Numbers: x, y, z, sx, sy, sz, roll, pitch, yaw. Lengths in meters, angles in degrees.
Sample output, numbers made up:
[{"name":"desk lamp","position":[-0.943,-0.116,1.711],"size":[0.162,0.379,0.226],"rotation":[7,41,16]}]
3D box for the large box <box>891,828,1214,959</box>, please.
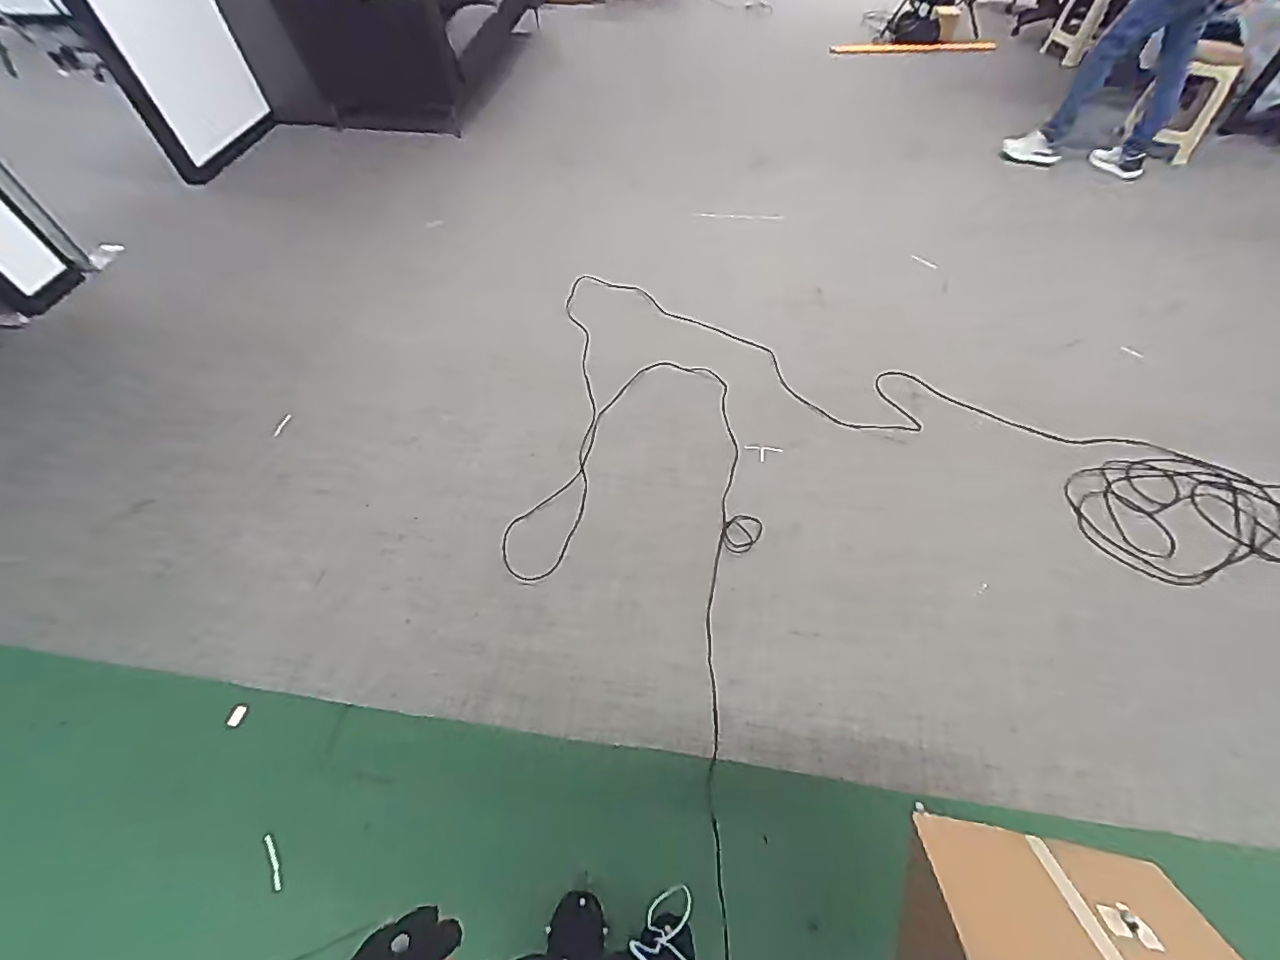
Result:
[{"name":"large box","position":[0.490,0.694,0.595],"size":[0.320,0.408,0.320],"rotation":[7,95,12]}]
